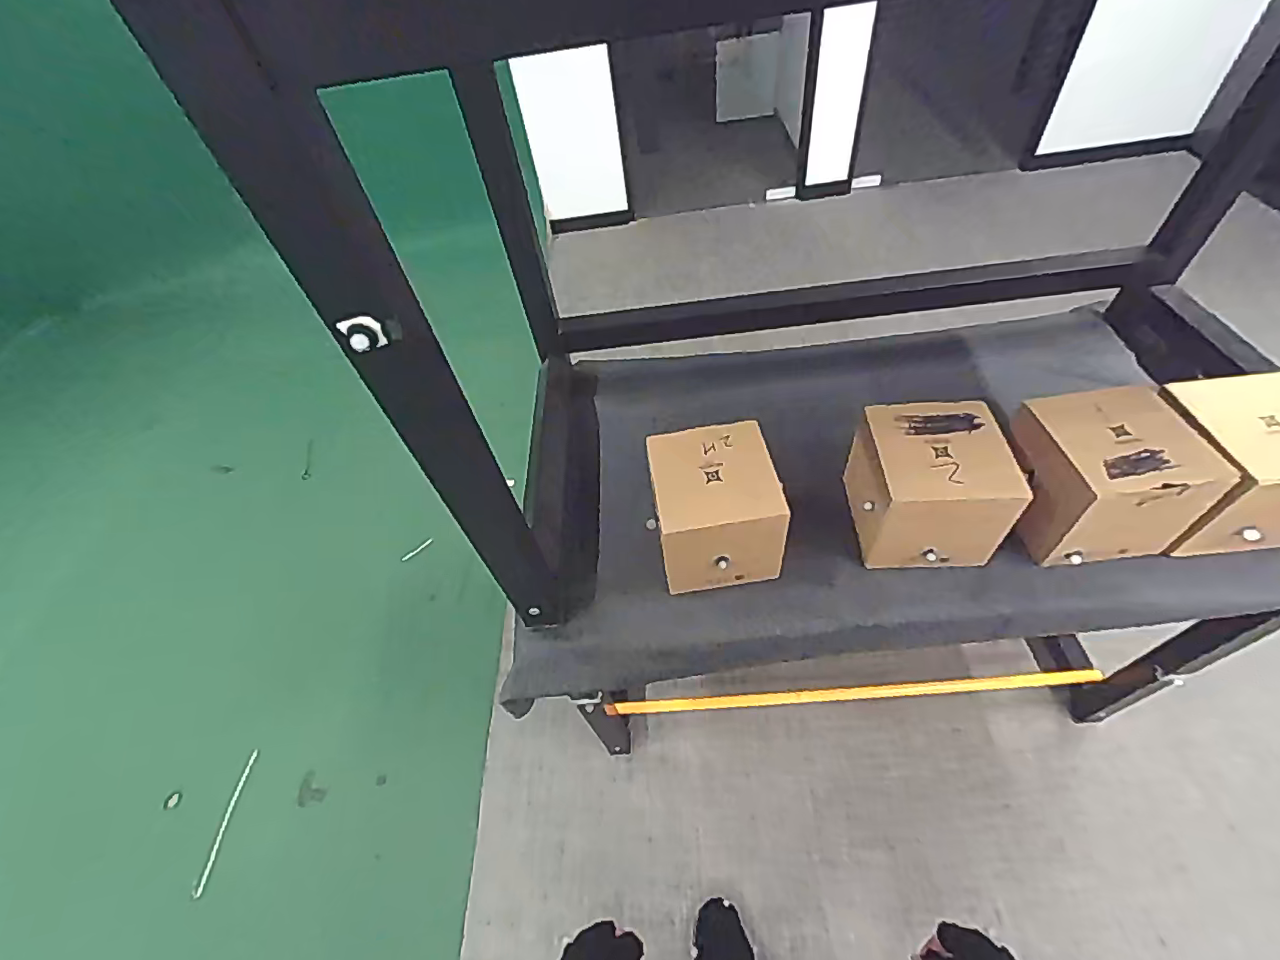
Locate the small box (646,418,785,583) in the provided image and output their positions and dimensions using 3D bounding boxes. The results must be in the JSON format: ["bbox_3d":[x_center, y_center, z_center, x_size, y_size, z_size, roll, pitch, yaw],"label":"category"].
[{"bbox_3d":[0.106,0.038,0.794,0.168,0.176,0.179,-9,50,1],"label":"small box"}]
